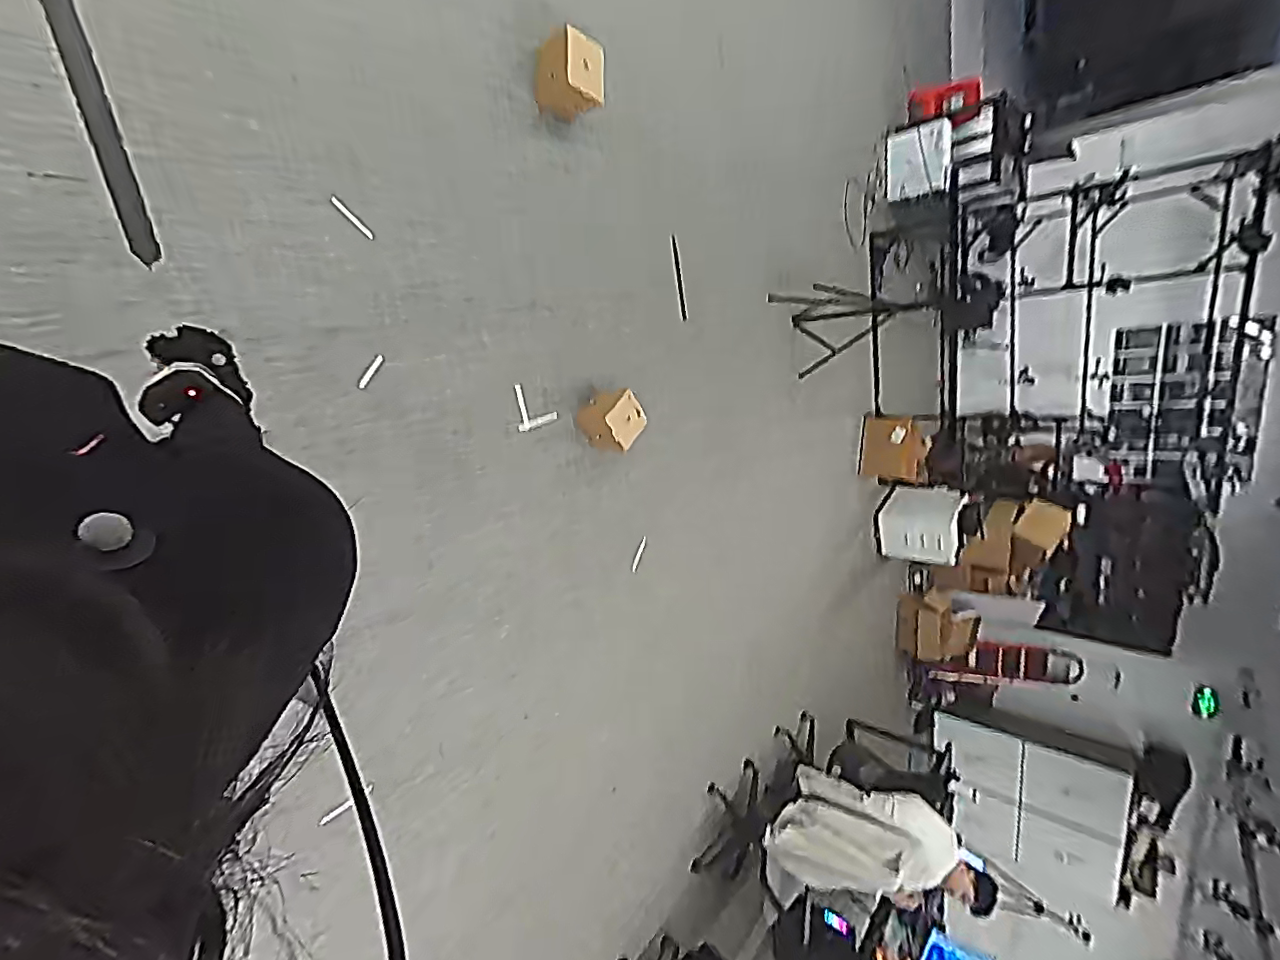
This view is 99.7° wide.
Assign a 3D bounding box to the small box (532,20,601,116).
[{"bbox_3d":[-0.246,-1.360,1.803,0.168,0.176,0.179,-8,100,-50],"label":"small box"}]

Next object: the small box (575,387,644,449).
[{"bbox_3d":[-0.123,-0.236,2.070,0.179,0.176,0.168,-54,131,-29],"label":"small box"}]
